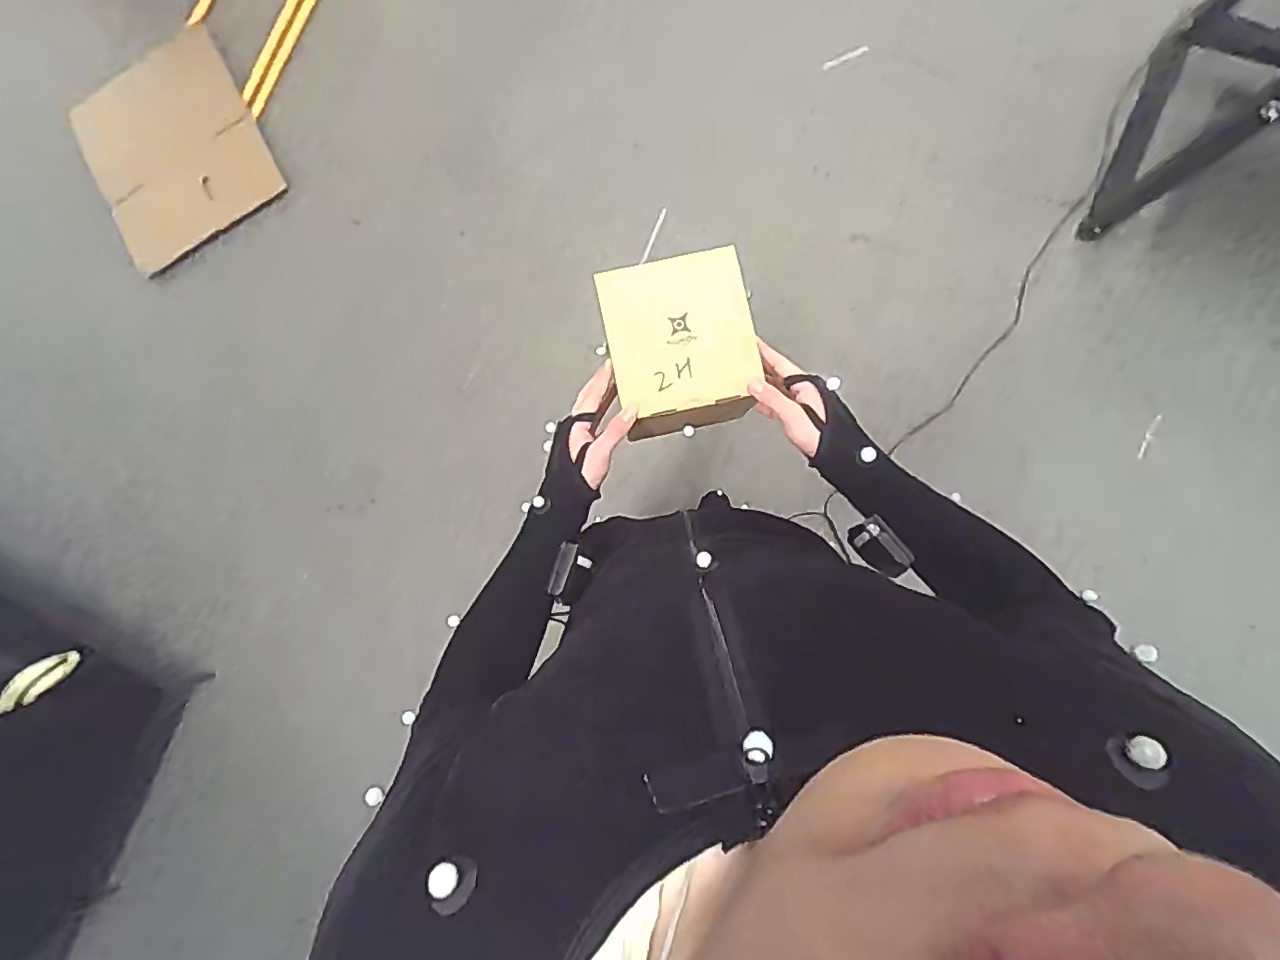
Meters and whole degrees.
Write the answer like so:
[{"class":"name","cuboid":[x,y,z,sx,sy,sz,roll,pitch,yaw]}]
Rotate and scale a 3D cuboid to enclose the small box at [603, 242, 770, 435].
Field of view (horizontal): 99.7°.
[{"class":"small box","cuboid":[0.051,-0.166,0.684,0.168,0.176,0.179,-11,86,0]}]
